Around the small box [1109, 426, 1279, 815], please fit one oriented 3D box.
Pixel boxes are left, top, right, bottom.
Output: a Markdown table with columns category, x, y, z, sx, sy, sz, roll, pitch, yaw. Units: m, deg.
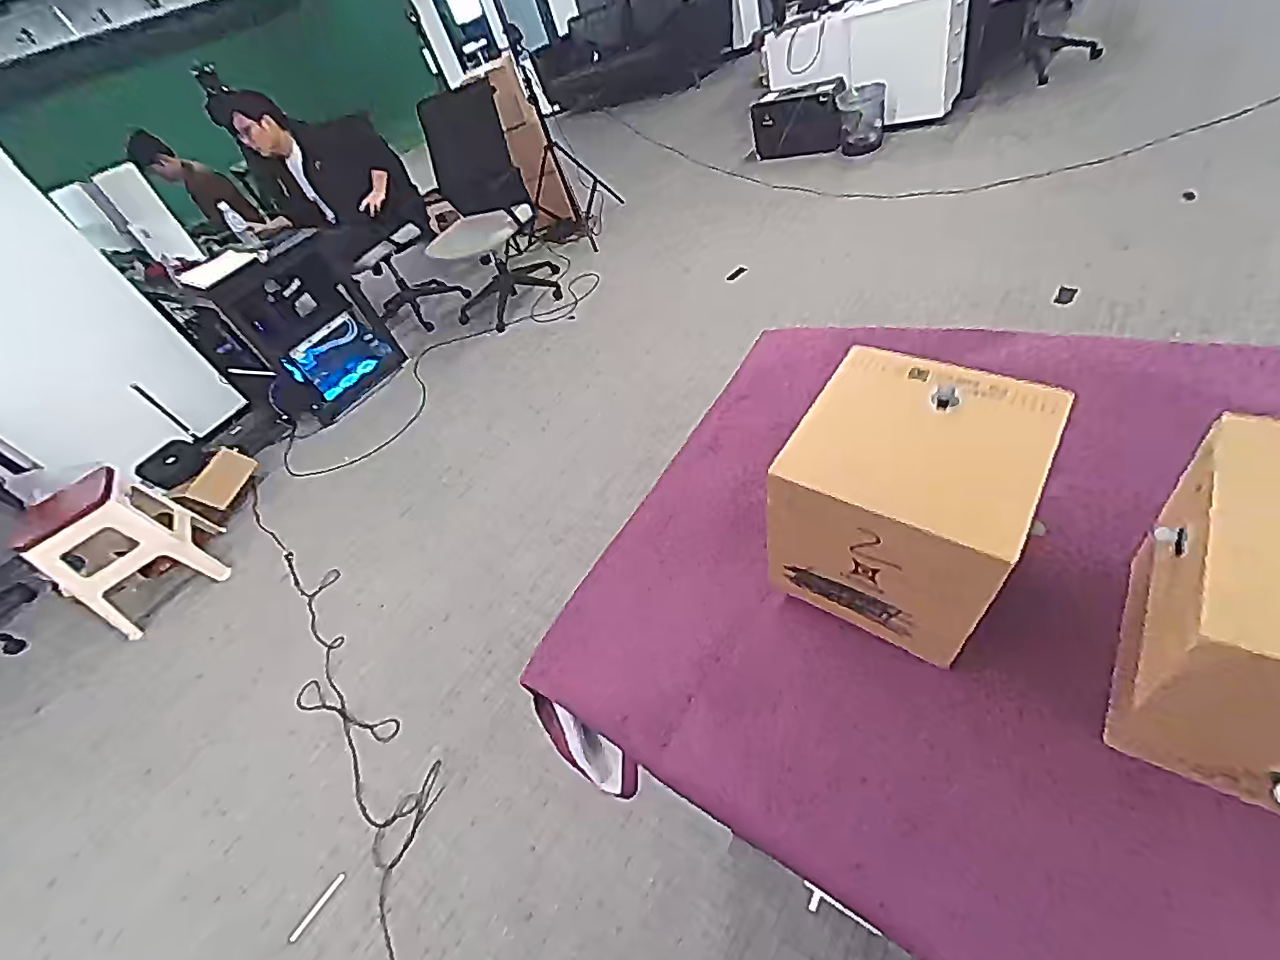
| category | x | y | z | sx | sy | sz | roll | pitch | yaw |
| --- | --- | --- | --- | --- | --- | --- | --- | --- | --- |
| small box | 0.425 | 0.097 | 0.334 | 0.168 | 0.176 | 0.179 | 17 | 56 | 35 |
